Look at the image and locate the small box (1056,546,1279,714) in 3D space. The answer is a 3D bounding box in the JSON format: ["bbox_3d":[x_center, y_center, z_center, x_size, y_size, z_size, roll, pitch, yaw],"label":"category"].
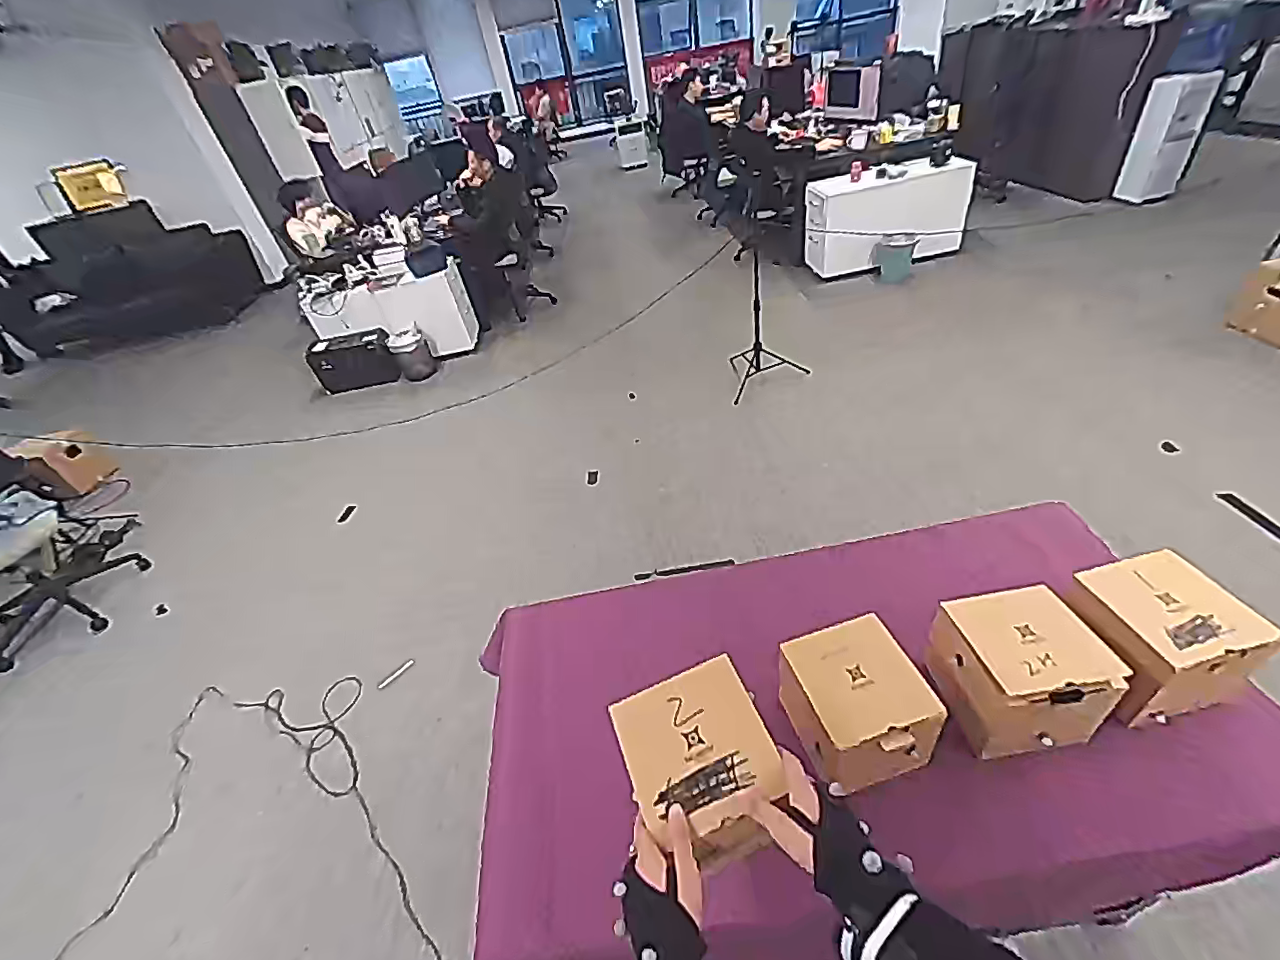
[{"bbox_3d":[0.782,0.237,0.838,0.168,0.176,0.179,-15,38,-2],"label":"small box"}]

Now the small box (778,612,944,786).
[{"bbox_3d":[0.327,0.343,0.836,0.168,0.176,0.179,-16,39,-6],"label":"small box"}]

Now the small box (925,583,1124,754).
[{"bbox_3d":[0.568,0.289,0.833,0.168,0.176,0.179,-11,39,3],"label":"small box"}]
